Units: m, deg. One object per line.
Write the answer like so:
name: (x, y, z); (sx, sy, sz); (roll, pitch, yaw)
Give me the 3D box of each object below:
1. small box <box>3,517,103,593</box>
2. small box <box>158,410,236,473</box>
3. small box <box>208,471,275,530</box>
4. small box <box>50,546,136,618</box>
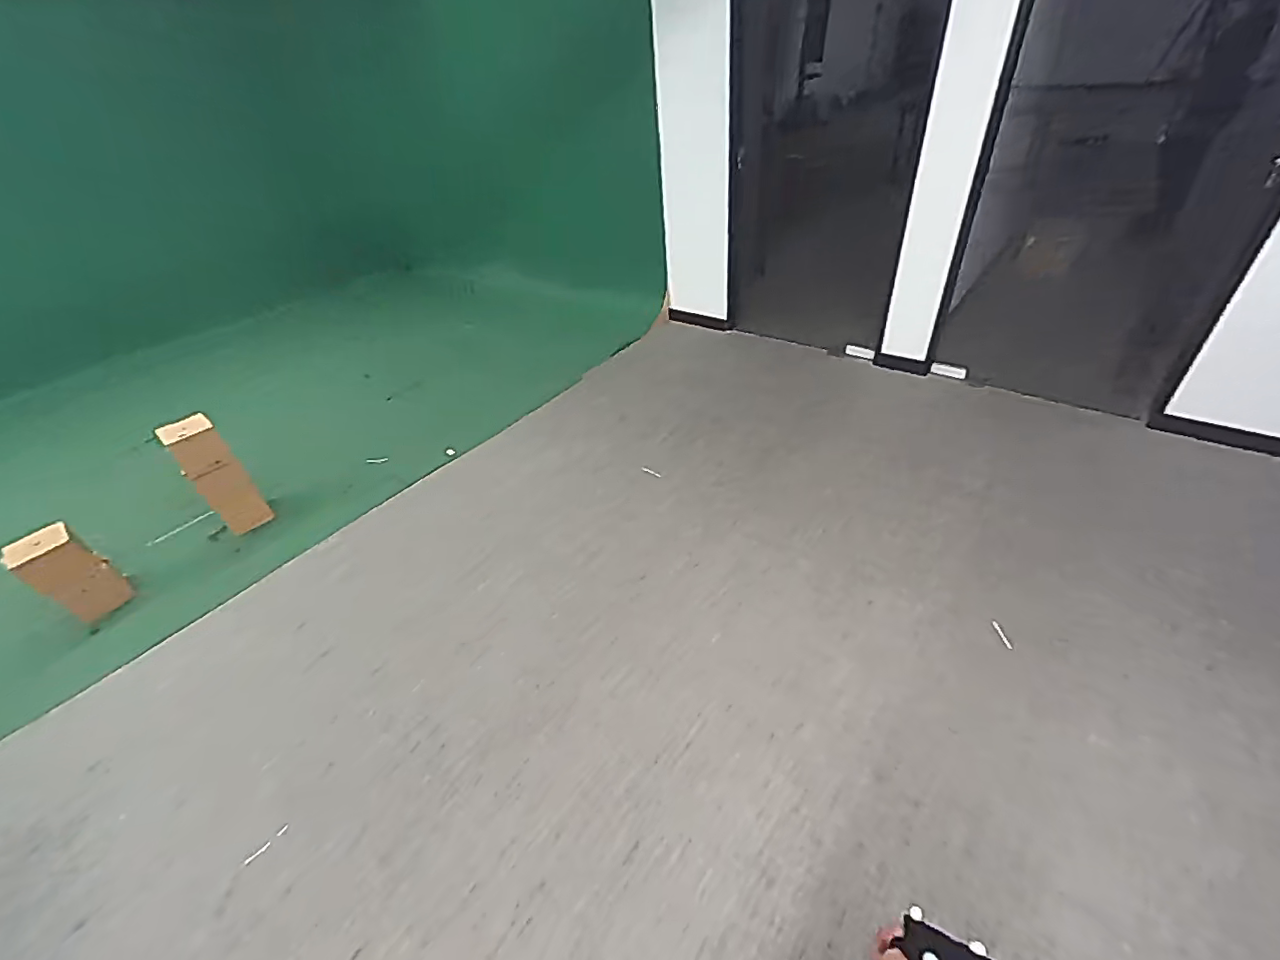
small box: (-2.108, 0.272, 1.945); (0.168, 0.176, 0.179); (27, 49, 32)
small box: (-1.770, -0.151, 2.163); (0.179, 0.176, 0.168); (27, 48, 35)
small box: (-1.749, 0.096, 2.379); (0.168, 0.176, 0.179); (-33, 46, -30)
small box: (-2.089, 0.390, 2.055); (0.168, 0.176, 0.179); (25, 48, 31)
